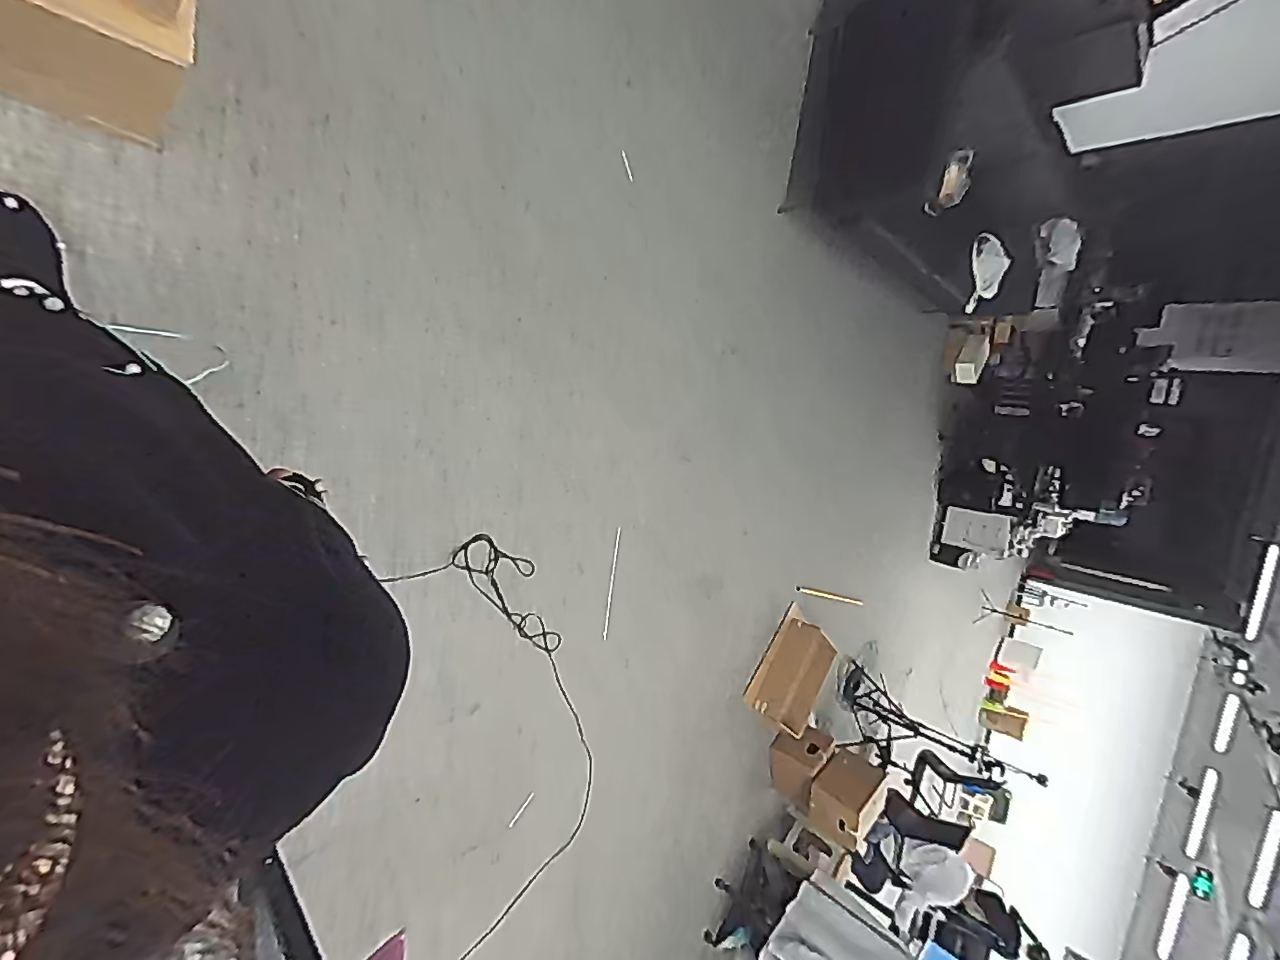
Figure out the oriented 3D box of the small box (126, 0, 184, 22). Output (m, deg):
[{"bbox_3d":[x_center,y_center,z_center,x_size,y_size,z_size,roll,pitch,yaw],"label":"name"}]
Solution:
[{"bbox_3d":[-0.612,-0.685,0.614,0.168,0.176,0.179,7,95,-46],"label":"small box"}]
